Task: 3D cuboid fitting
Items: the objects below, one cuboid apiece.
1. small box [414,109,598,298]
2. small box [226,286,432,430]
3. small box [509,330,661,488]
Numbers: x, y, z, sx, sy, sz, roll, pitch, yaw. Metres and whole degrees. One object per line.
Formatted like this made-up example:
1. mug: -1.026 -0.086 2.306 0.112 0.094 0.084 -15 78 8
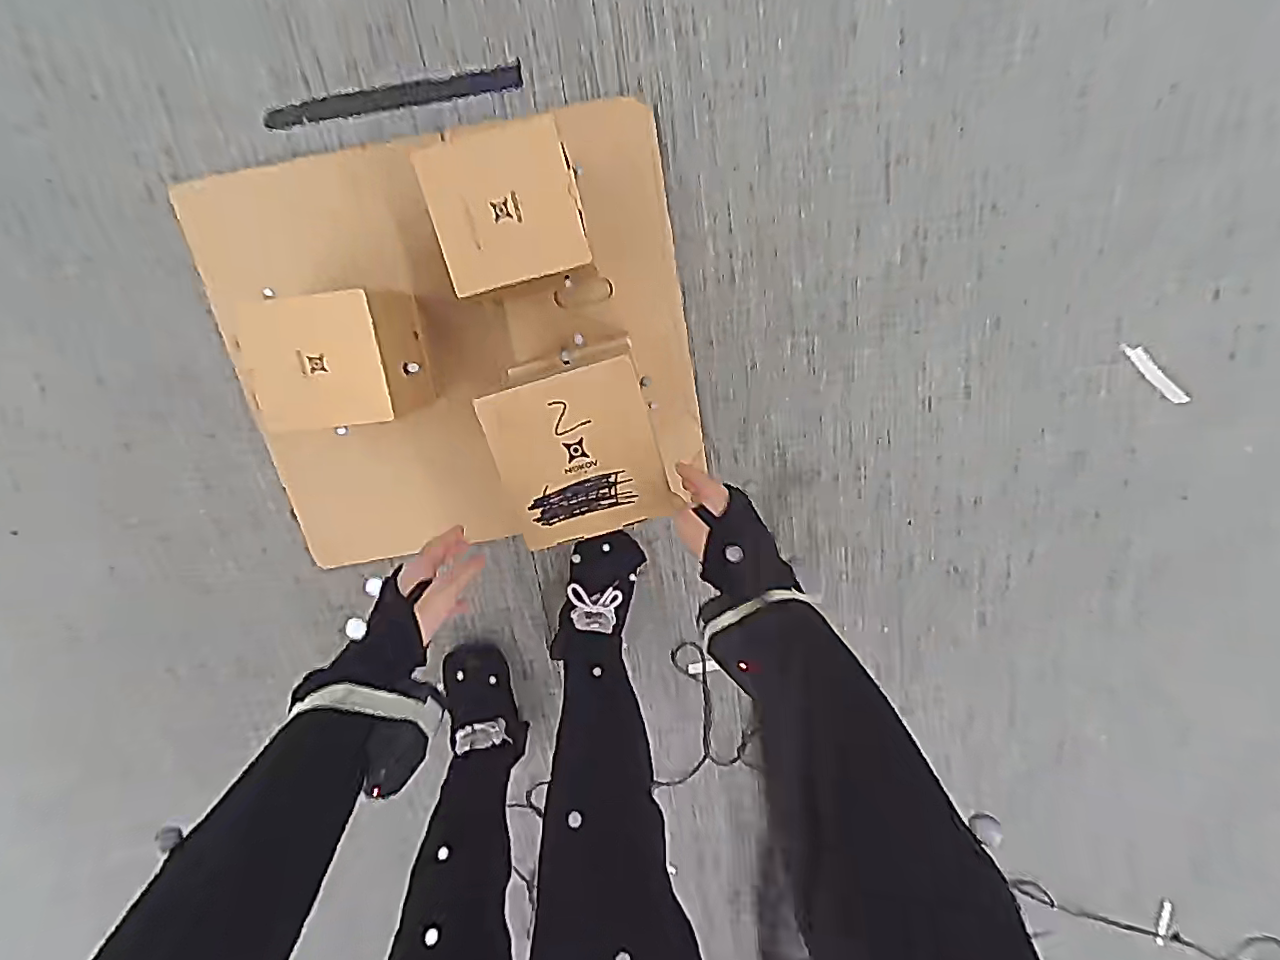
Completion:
1. small box: -0.157 -0.344 0.707 0.179 0.176 0.168 -14 106 3
2. small box: -0.407 -0.174 0.748 0.179 0.176 0.168 -6 107 1
3. small box: -0.070 -0.110 0.780 0.168 0.176 0.179 -14 107 2
